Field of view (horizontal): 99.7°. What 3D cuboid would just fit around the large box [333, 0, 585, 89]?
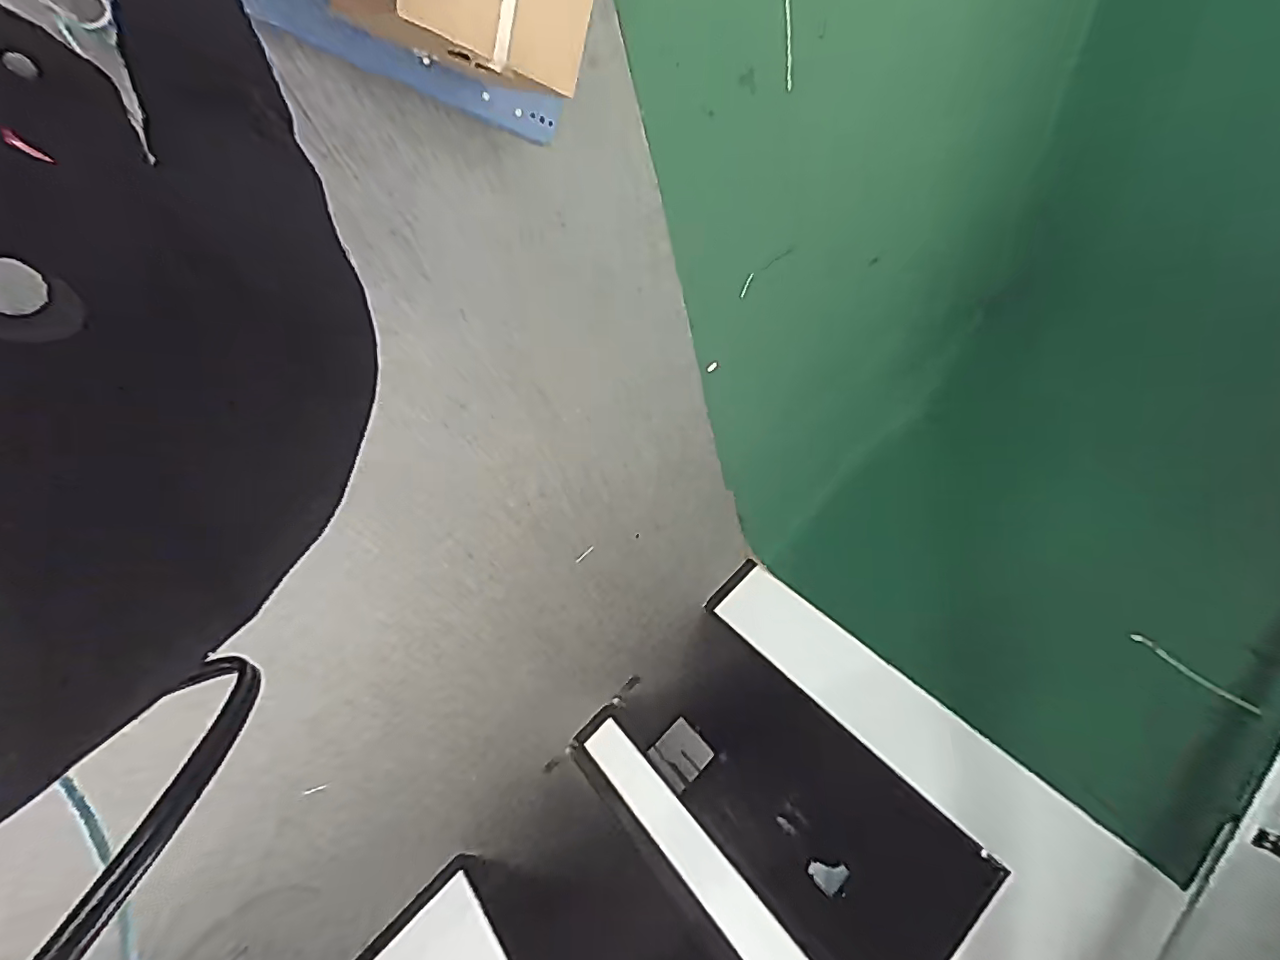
[{"bbox_3d":[-0.280,-0.917,0.865,0.320,0.320,0.408,-9,125,-44],"label":"large box"}]
